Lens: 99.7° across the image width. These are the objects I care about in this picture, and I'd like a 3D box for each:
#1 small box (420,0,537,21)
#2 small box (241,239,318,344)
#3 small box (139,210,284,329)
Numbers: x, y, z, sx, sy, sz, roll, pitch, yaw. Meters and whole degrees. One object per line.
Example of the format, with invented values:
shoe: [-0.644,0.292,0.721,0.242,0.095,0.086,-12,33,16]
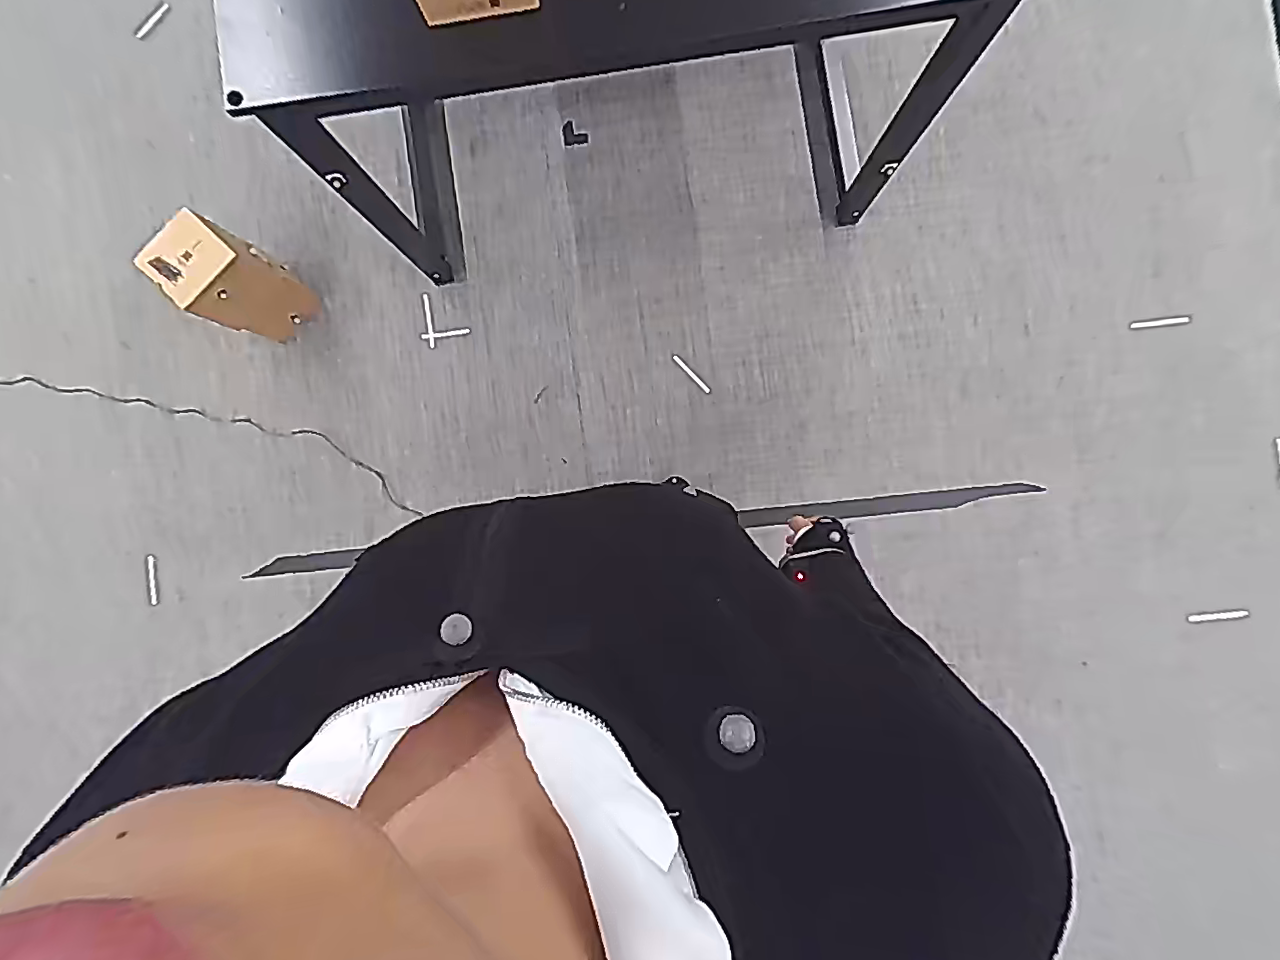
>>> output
small box: [-0.241,-0.759,0.718,0.168,0.176,0.179,-8,88,1]
small box: [-1.017,-0.501,1.463,0.168,0.176,0.179,42,89,2]
small box: [-1.014,-0.492,1.296,0.168,0.176,0.179,43,90,2]
